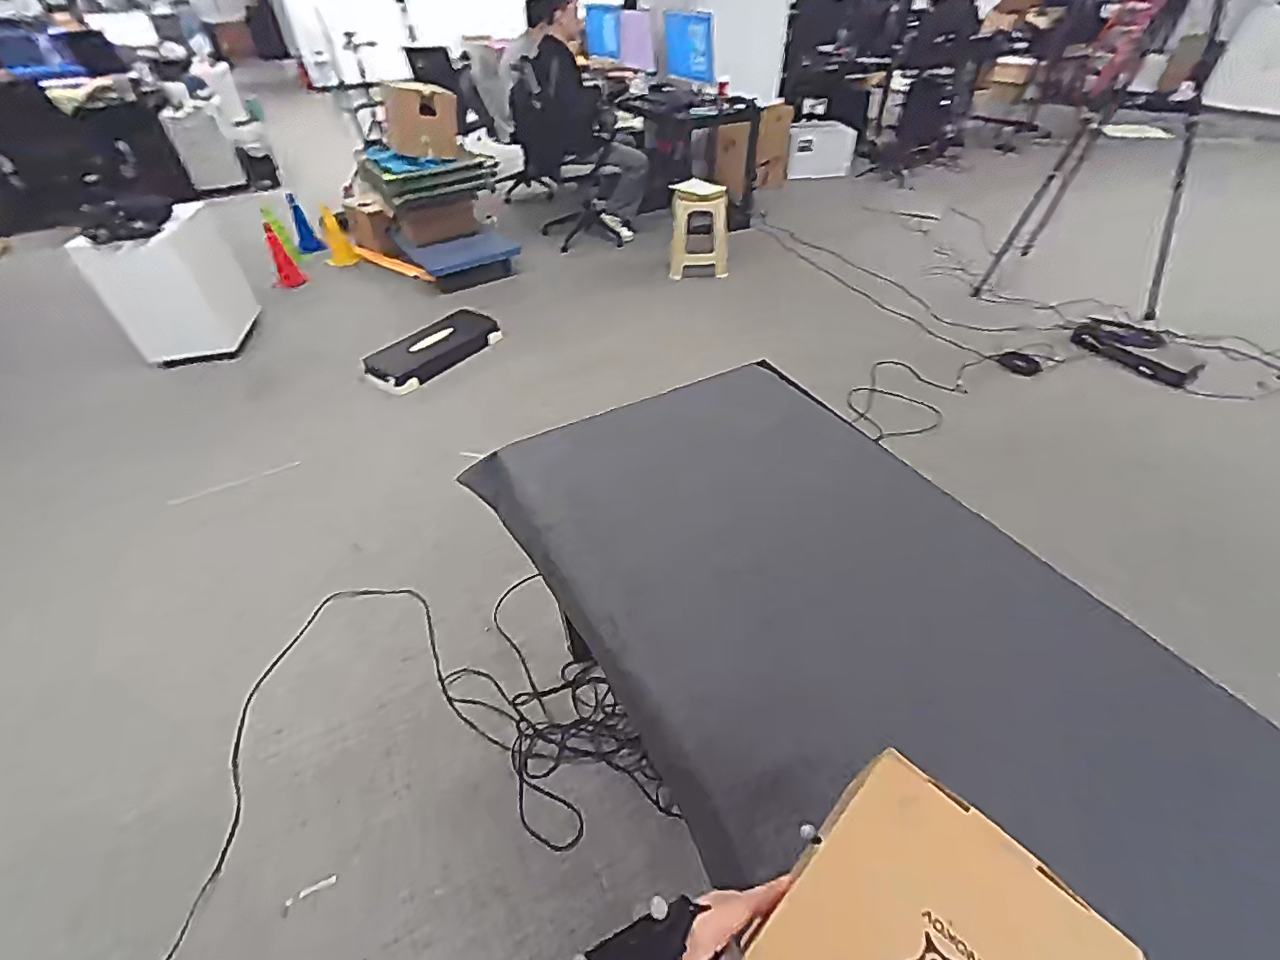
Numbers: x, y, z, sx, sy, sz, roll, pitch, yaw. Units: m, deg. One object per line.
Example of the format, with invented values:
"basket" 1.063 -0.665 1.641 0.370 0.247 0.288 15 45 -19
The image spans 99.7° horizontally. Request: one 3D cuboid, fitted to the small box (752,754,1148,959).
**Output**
"small box" 0.194 0.340 0.389 0.179 0.176 0.168 -42 56 -20
